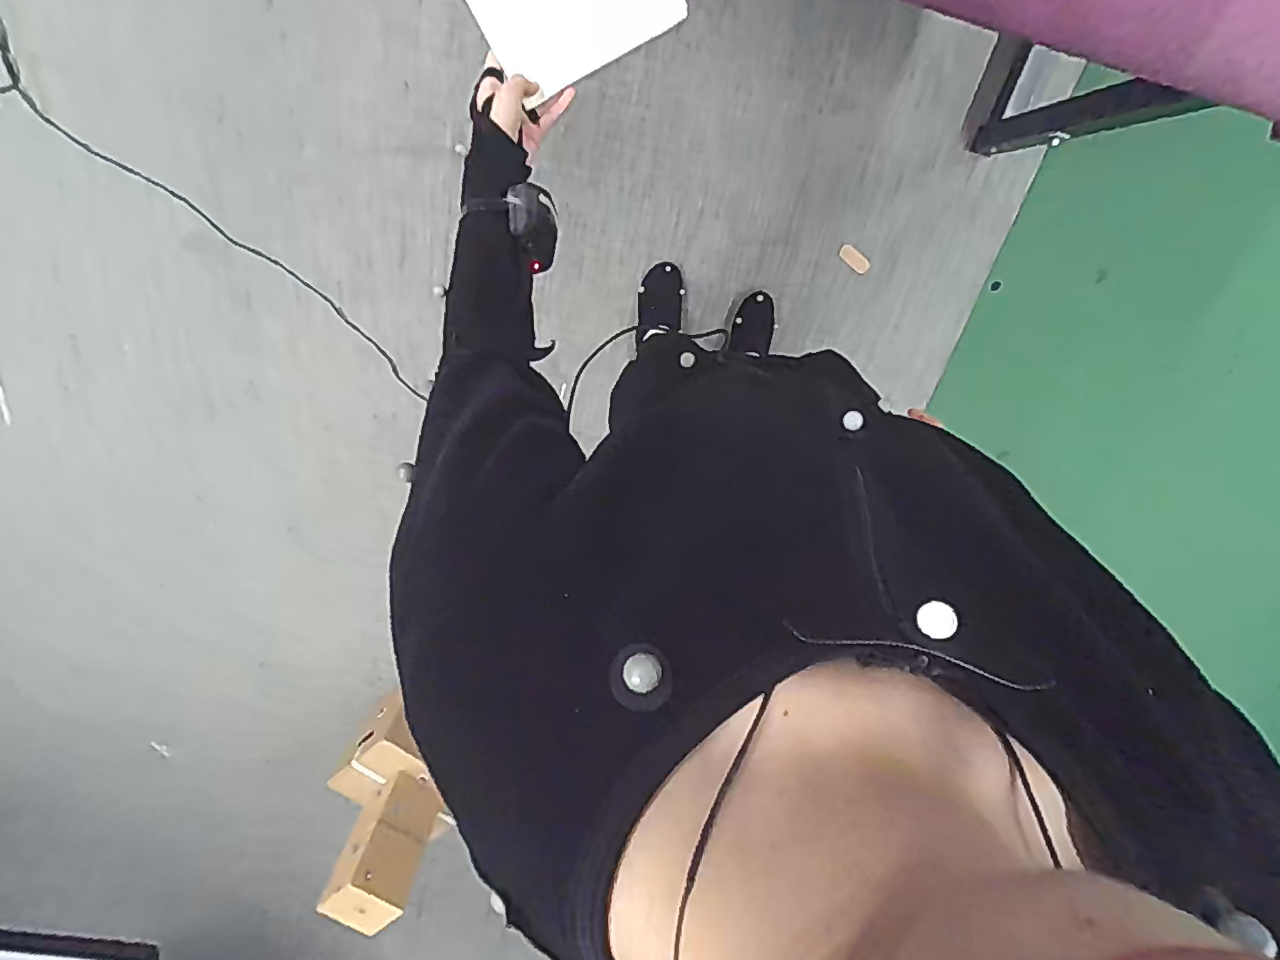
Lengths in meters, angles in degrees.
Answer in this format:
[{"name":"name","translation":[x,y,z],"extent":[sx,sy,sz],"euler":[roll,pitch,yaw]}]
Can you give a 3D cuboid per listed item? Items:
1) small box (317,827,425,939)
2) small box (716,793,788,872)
[{"name":"small box","translation":[-0.729,1.105,1.490],"extent":[0.179,0.176,0.168],"euler":[43,108,-15]},{"name":"small box","translation":[0.334,1.086,1.648],"extent":[0.179,0.176,0.168],"euler":[2,113,0]}]
